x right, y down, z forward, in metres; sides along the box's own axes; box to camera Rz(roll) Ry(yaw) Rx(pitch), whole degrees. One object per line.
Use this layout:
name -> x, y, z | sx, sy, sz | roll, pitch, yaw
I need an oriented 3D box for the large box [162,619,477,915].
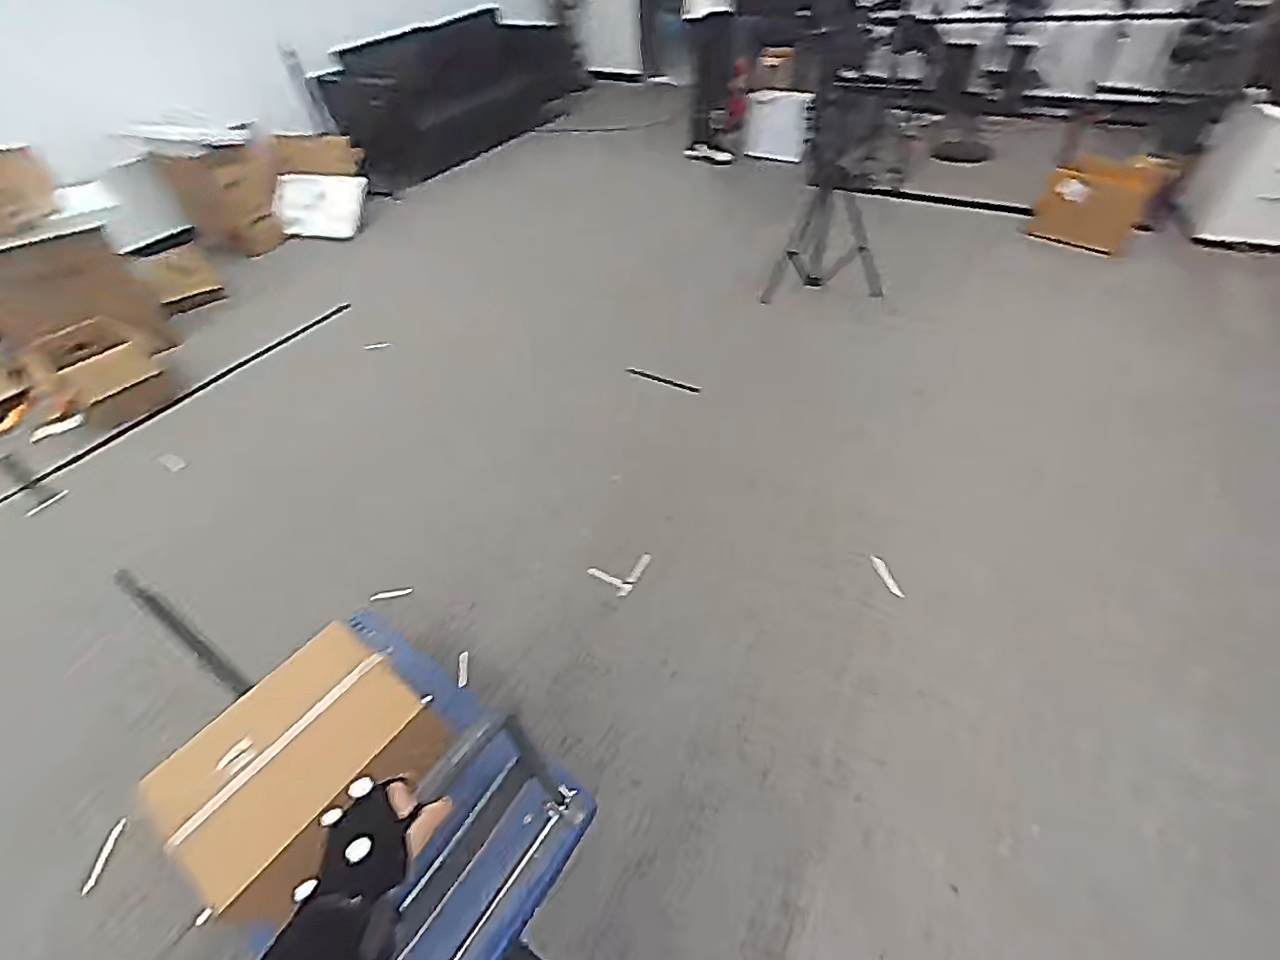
large box -> -0.623, 0.584, 1.126 | 0.320, 0.320, 0.408 | 27, 56, 27
